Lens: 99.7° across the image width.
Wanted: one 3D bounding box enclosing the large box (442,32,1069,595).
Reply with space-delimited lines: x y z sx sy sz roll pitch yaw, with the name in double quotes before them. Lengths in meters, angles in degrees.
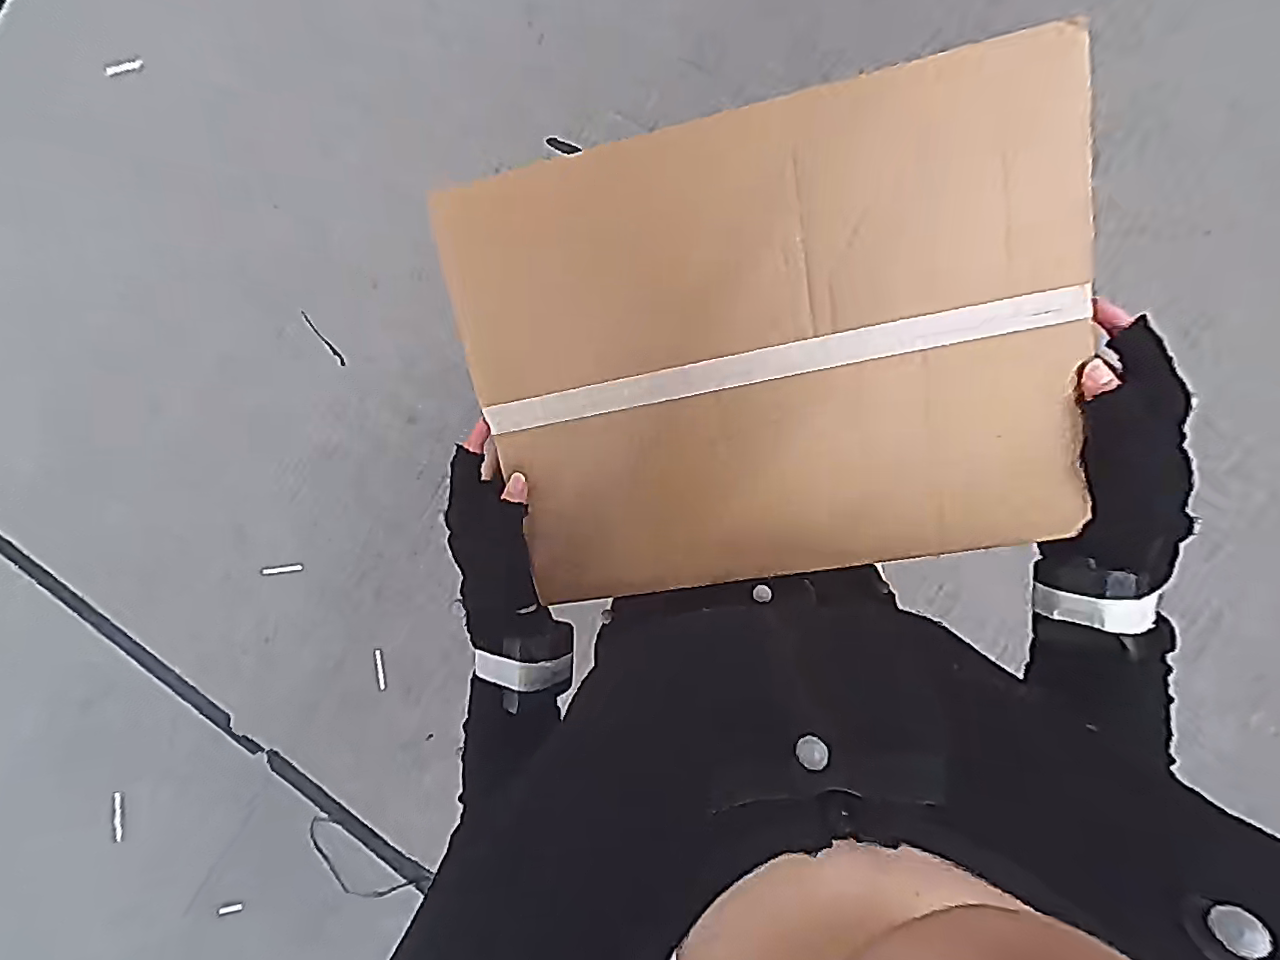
"large box" 0.097 -0.121 0.523 0.408 0.320 0.320 -10 105 9
